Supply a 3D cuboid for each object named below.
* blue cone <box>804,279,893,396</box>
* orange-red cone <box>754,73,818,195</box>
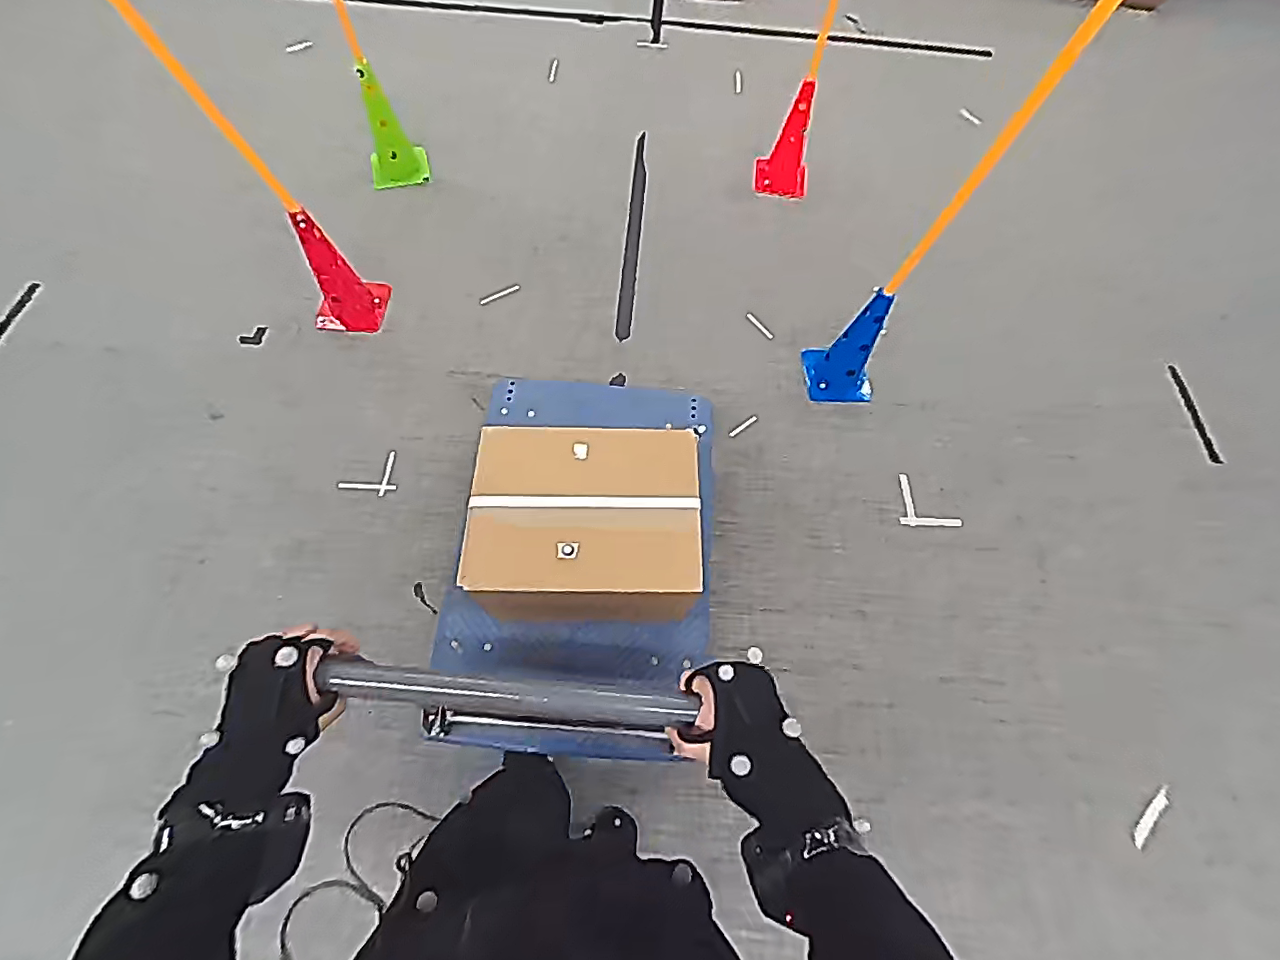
[{"bbox_3d":[0.629,-0.415,1.557,0.193,0.380,0.192,1,64,-3],"label":"blue cone"},{"bbox_3d":[0.555,-1.246,1.924,0.199,0.360,0.198,11,66,1],"label":"orange-red cone"}]
